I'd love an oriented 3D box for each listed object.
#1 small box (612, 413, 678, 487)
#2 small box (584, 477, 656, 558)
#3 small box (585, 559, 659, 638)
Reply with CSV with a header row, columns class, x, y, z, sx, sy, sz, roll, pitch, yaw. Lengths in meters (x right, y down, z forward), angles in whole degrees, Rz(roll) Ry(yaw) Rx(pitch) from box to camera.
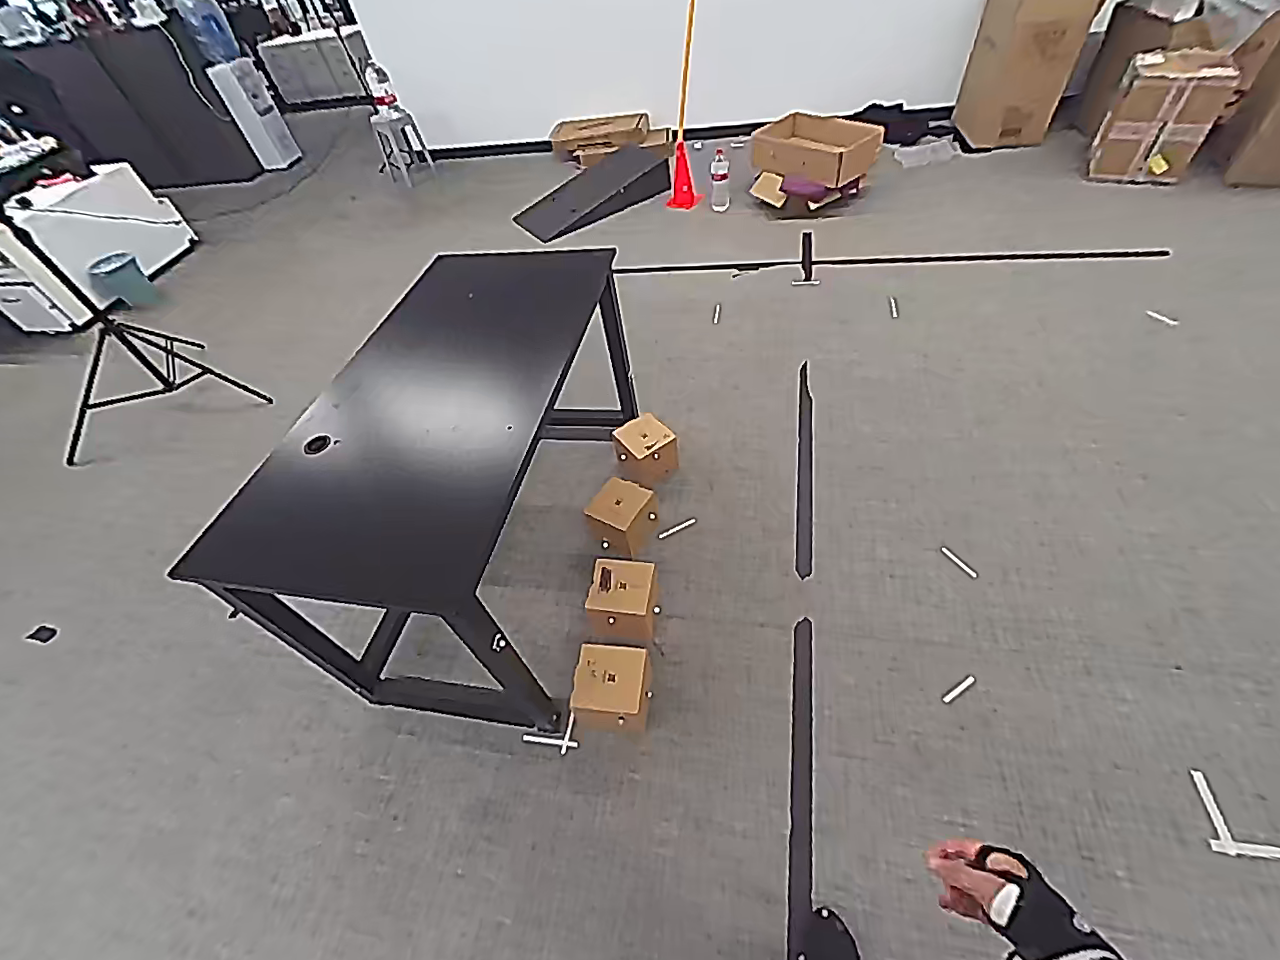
class,x,y,z,sx,sy,sz,roll,pitch,yaw
small box,0.020,-0.106,1.971,0.168,0.176,0.179,-33,52,-17
small box,-0.057,0.125,1.790,0.168,0.176,0.179,21,57,26
small box,-0.047,0.352,1.592,0.179,0.176,0.168,4,51,11
